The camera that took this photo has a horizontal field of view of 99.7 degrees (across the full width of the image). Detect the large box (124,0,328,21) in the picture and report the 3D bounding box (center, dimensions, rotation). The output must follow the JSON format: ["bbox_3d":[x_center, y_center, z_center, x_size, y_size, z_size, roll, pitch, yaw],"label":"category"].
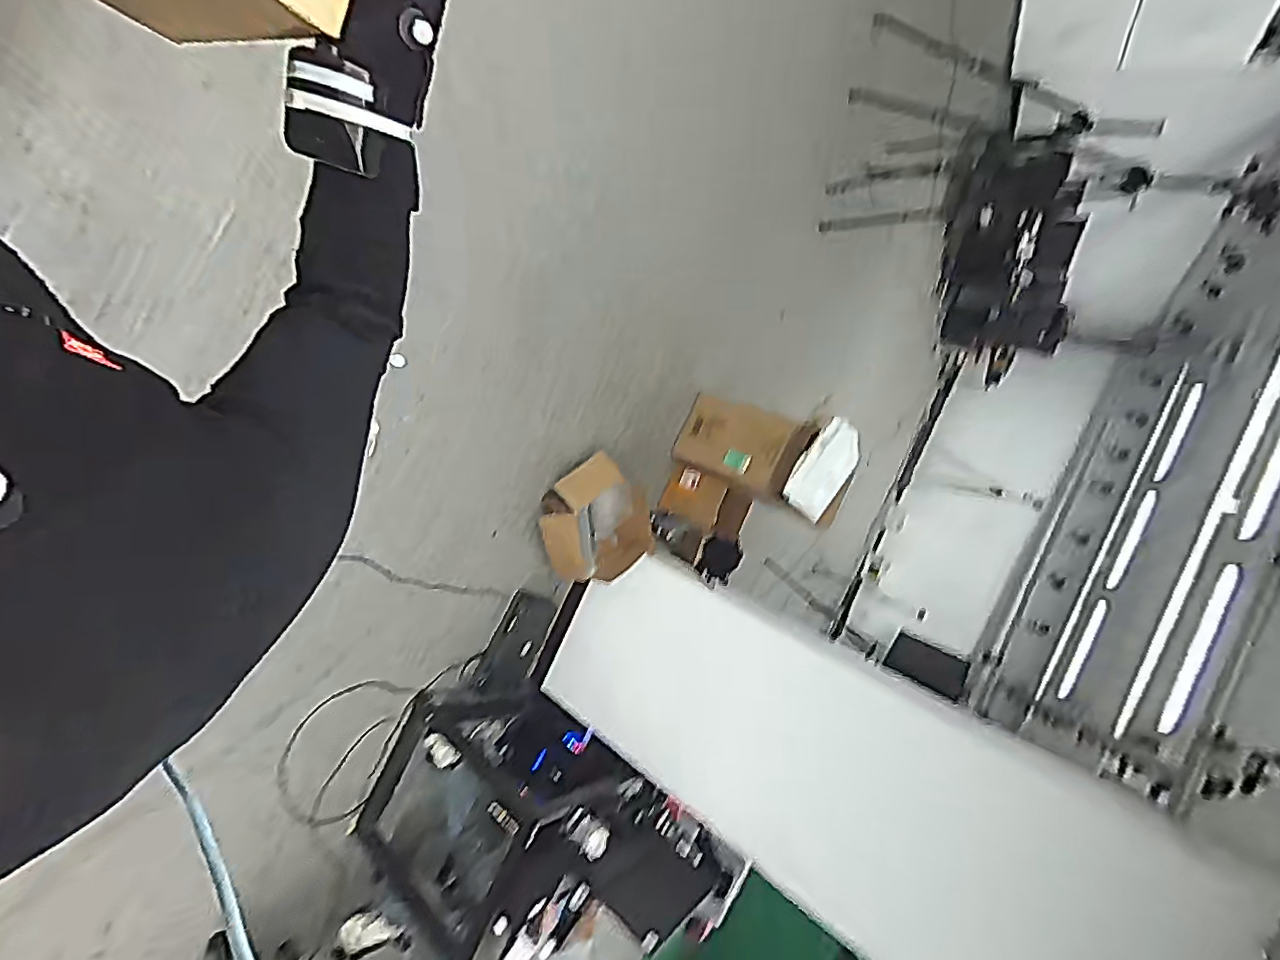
[{"bbox_3d":[-0.374,-0.498,0.224,0.408,0.320,0.320,2,113,-58],"label":"large box"}]
